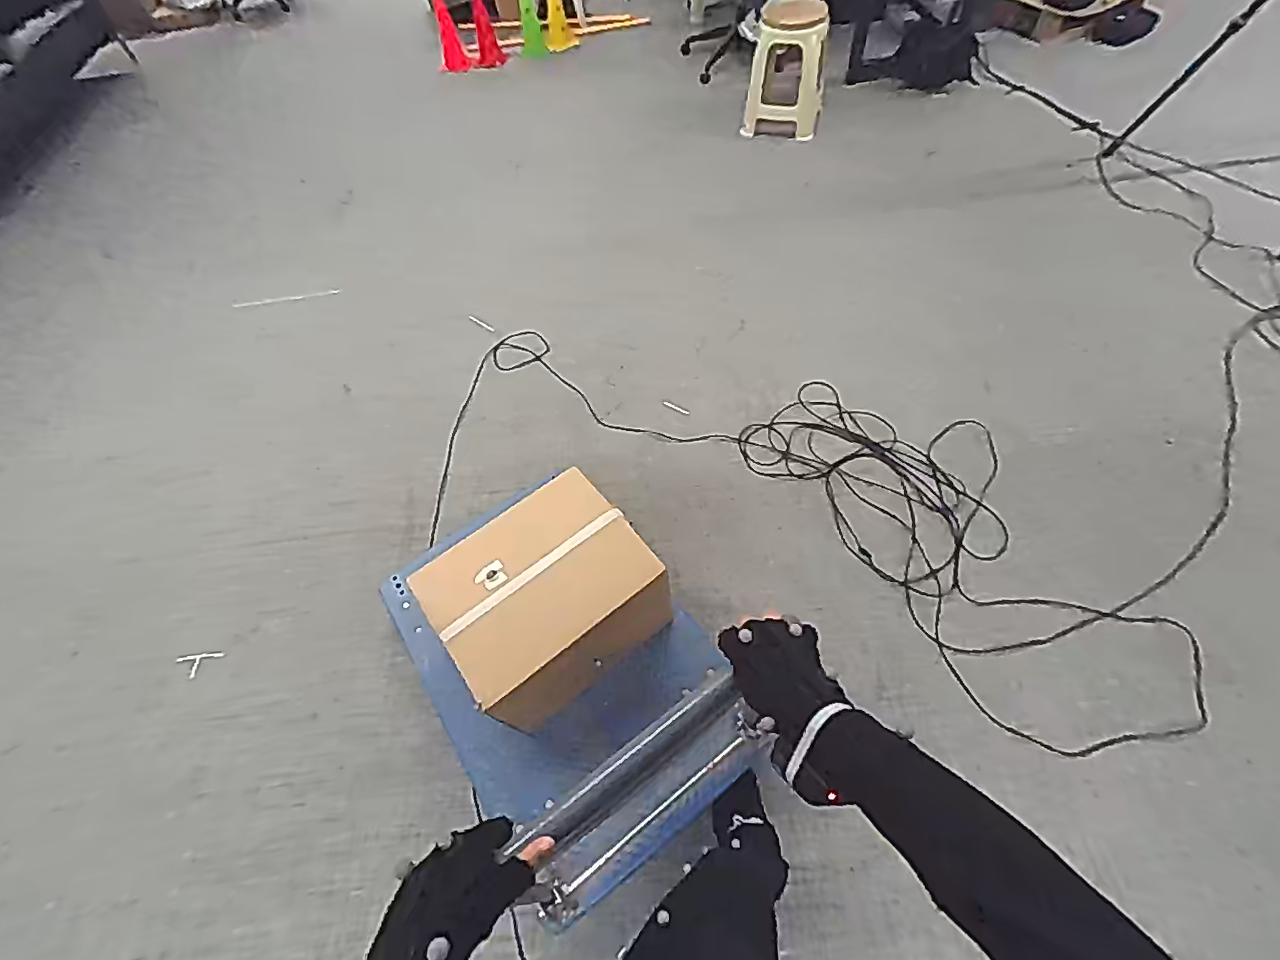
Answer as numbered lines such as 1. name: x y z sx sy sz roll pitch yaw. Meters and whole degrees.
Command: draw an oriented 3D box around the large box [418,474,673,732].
1. large box: -0.178 0.269 1.172 0.408 0.320 0.320 -36 61 -15
